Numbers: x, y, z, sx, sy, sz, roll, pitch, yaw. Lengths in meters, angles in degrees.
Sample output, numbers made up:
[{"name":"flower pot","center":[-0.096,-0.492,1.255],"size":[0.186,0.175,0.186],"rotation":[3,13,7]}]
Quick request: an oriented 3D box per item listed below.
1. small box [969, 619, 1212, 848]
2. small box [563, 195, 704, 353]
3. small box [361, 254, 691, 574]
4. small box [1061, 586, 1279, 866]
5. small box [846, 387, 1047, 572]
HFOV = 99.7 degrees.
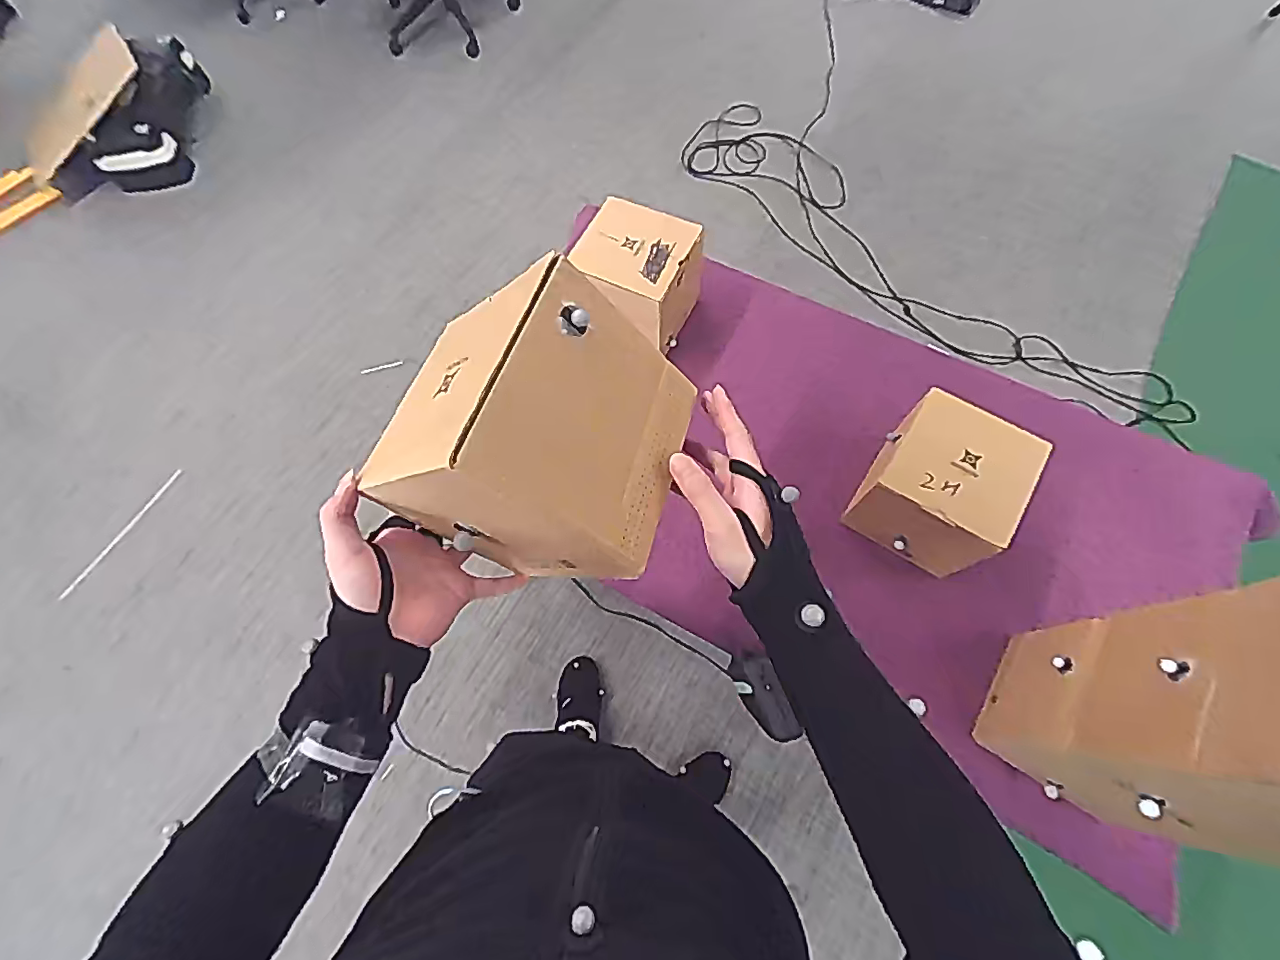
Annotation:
[{"name":"small box","center":[0.553,0.294,0.658],"size":[0.179,0.176,0.168],"rotation":[32,72,14]},{"name":"small box","center":[-0.005,-0.343,0.932],"size":[0.179,0.176,0.168],"rotation":[25,72,12]},{"name":"small box","center":[-0.081,-0.034,0.438],"size":[0.168,0.176,0.179],"rotation":[-8,54,45]},{"name":"small box","center":[0.550,0.230,0.508],"size":[0.168,0.176,0.179],"rotation":[32,72,15]},{"name":"small box","center":[0.424,0.006,0.779],"size":[0.168,0.176,0.179],"rotation":[32,73,14]}]
